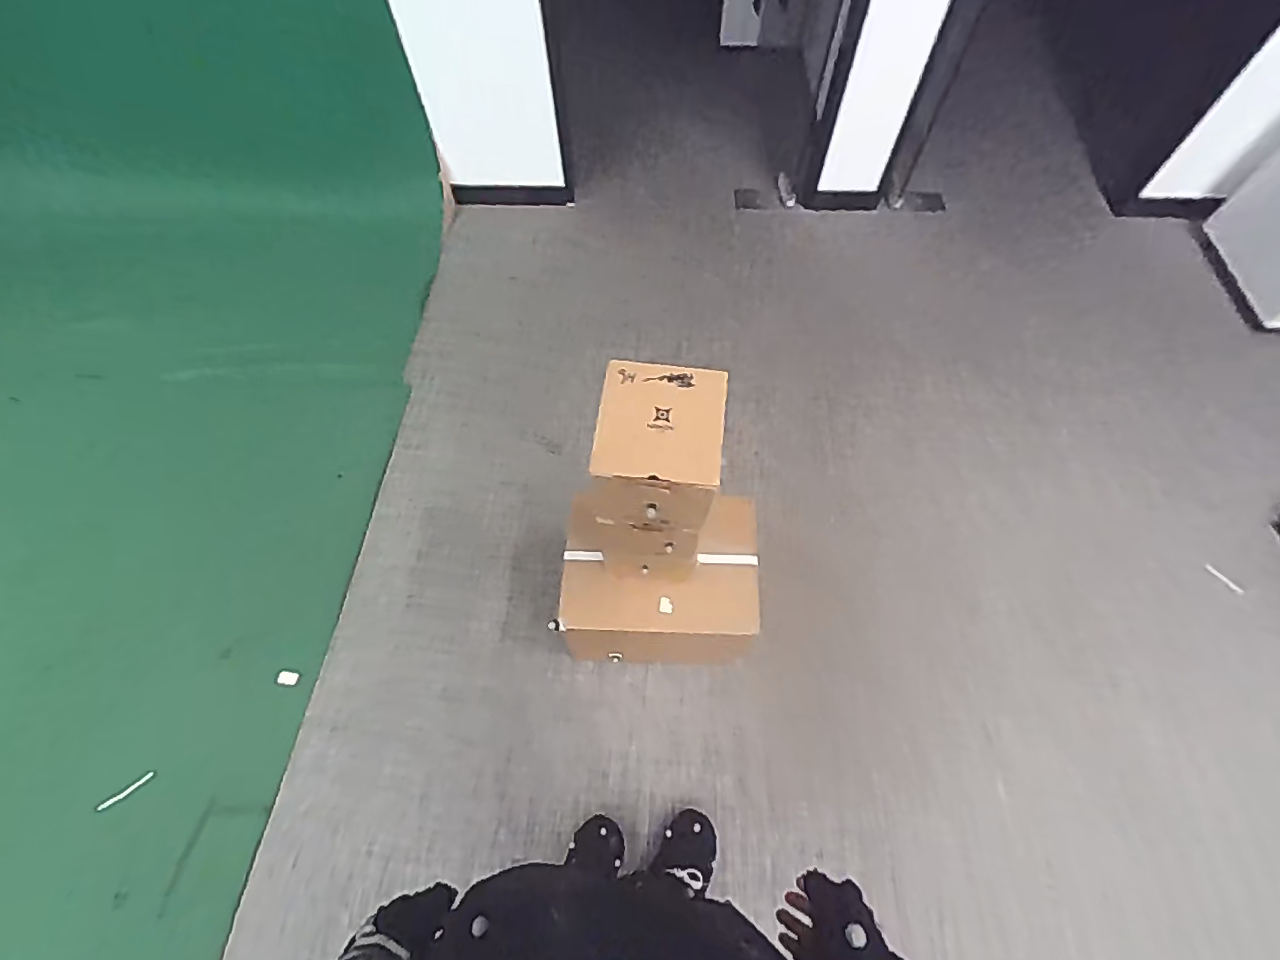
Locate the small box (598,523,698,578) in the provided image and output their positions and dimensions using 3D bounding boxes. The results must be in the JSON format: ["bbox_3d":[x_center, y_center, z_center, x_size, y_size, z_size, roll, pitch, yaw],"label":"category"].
[{"bbox_3d":[0.022,0.090,1.077,0.179,0.176,0.168,8,66,4],"label":"small box"}]

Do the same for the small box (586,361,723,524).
[{"bbox_3d":[0.023,-0.045,0.784,0.168,0.176,0.179,7,68,3],"label":"small box"}]

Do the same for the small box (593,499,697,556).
[{"bbox_3d":[0.016,0.023,0.933,0.168,0.176,0.179,5,66,1],"label":"small box"}]
